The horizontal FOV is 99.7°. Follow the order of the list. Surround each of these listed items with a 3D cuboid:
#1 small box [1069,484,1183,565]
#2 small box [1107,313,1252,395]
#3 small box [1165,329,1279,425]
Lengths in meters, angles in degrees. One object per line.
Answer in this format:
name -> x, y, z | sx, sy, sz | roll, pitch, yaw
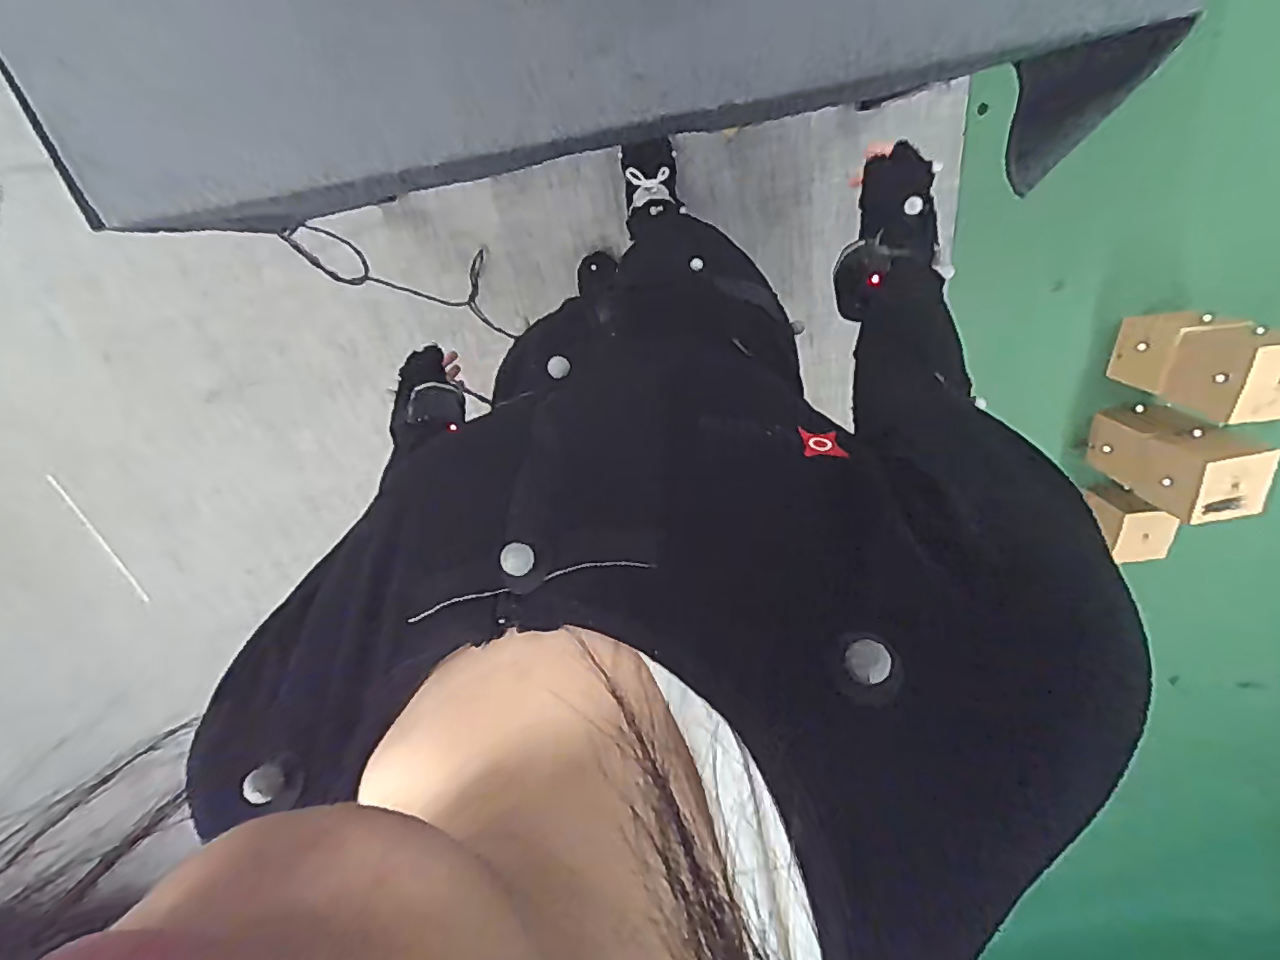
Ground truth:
small box -> 1.432, 0.130, 1.608 | 0.168, 0.176, 0.179 | -5, 117, 1
small box -> 1.351, -0.323, 1.372 | 0.179, 0.176, 0.168 | -5, 117, 0
small box -> 1.367, -0.241, 1.229 | 0.168, 0.176, 0.179 | -5, 117, 1
